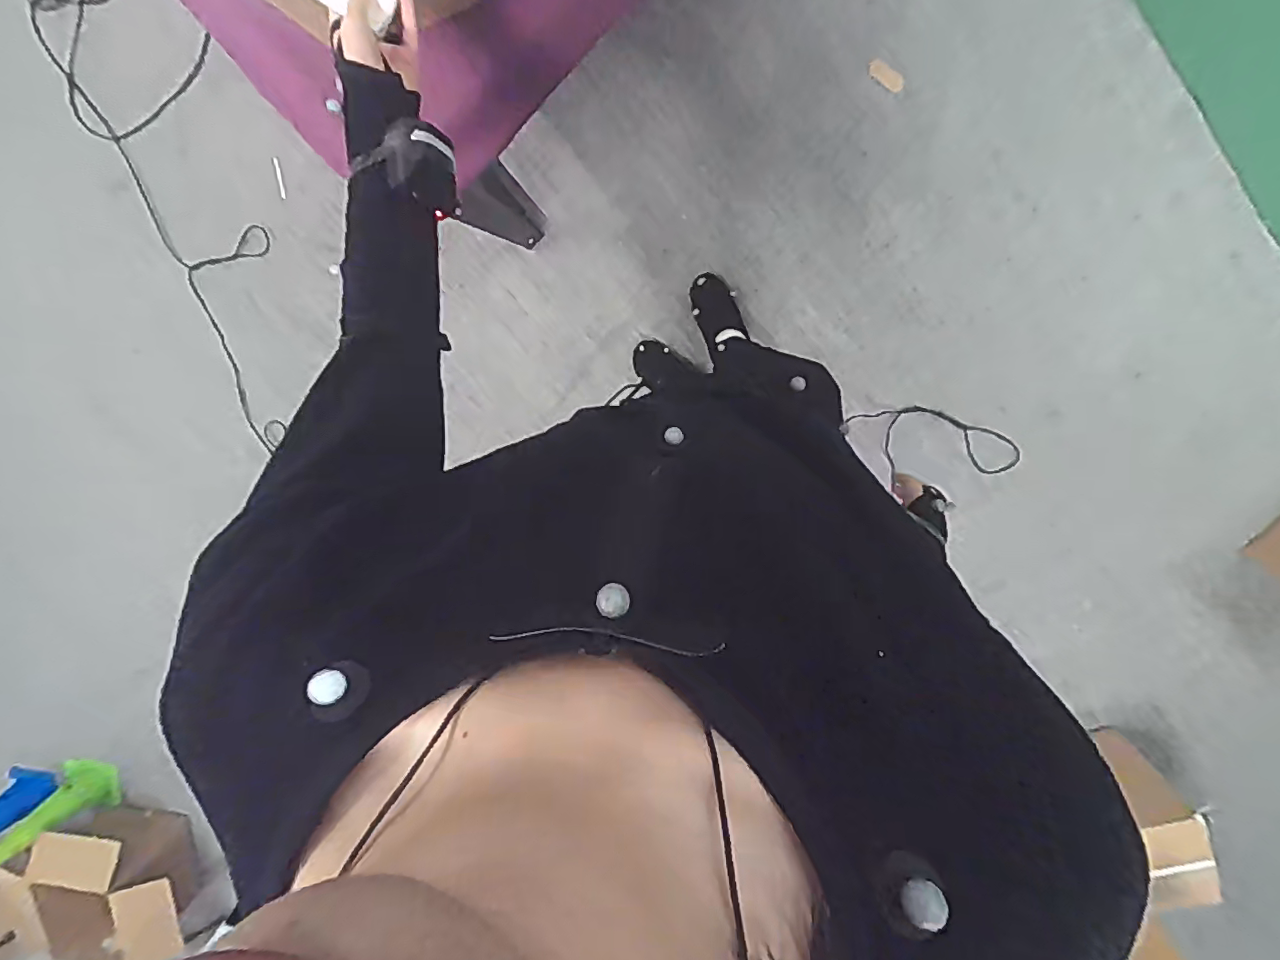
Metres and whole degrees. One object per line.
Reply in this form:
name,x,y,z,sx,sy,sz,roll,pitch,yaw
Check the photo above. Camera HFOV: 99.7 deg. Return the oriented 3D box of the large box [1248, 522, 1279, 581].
large box,1.827,0.167,1.256,0.320,0.320,0.408,34,106,-6
